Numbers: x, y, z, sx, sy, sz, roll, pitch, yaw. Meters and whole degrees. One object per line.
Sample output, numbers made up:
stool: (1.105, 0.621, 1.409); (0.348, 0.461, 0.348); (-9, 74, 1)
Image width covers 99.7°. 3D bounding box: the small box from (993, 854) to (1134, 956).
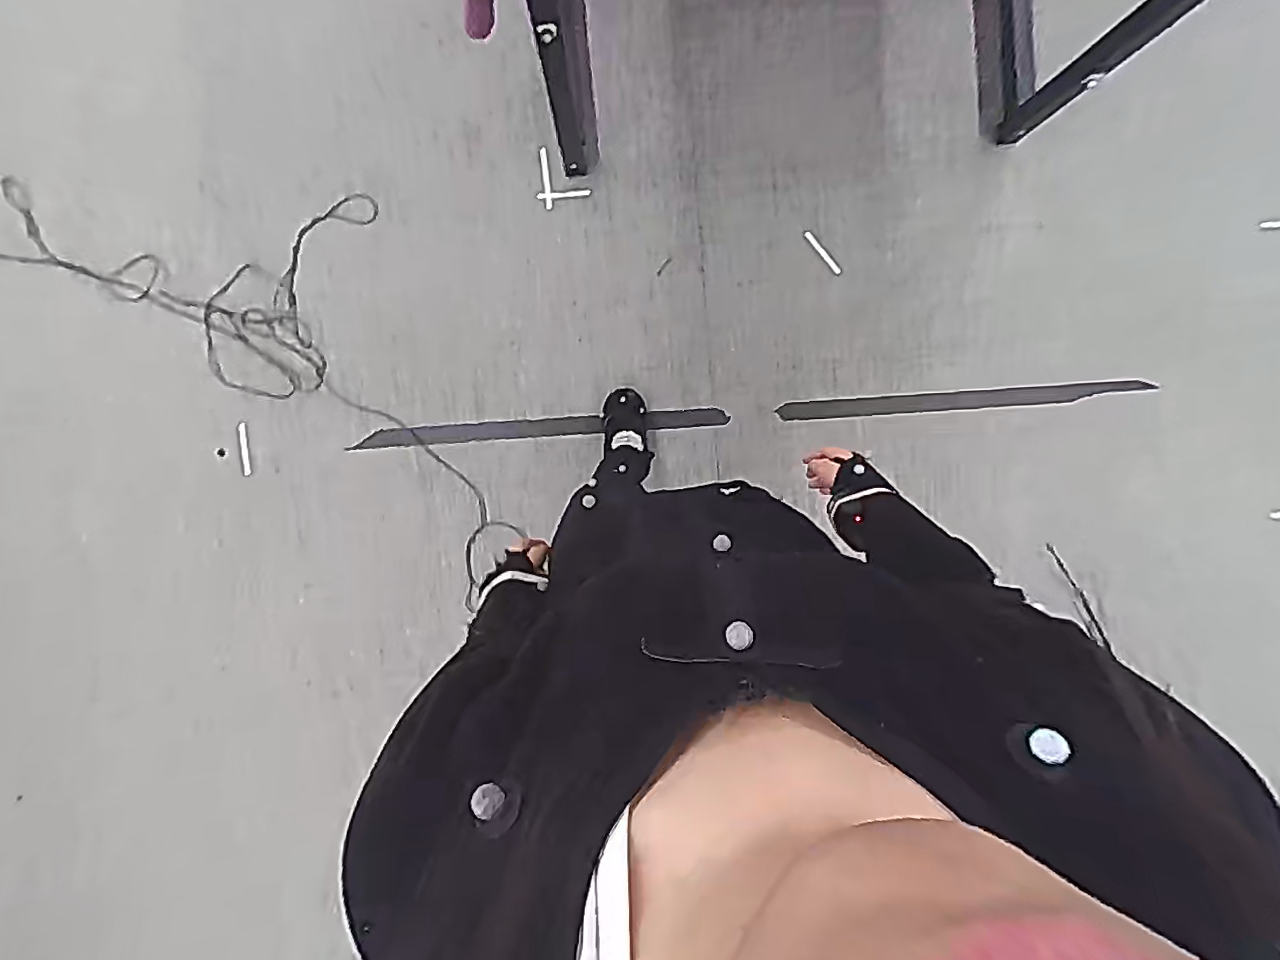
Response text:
small box: (1.031, 1.075, 1.334); (0.179, 0.176, 0.168); (37, 95, -6)
